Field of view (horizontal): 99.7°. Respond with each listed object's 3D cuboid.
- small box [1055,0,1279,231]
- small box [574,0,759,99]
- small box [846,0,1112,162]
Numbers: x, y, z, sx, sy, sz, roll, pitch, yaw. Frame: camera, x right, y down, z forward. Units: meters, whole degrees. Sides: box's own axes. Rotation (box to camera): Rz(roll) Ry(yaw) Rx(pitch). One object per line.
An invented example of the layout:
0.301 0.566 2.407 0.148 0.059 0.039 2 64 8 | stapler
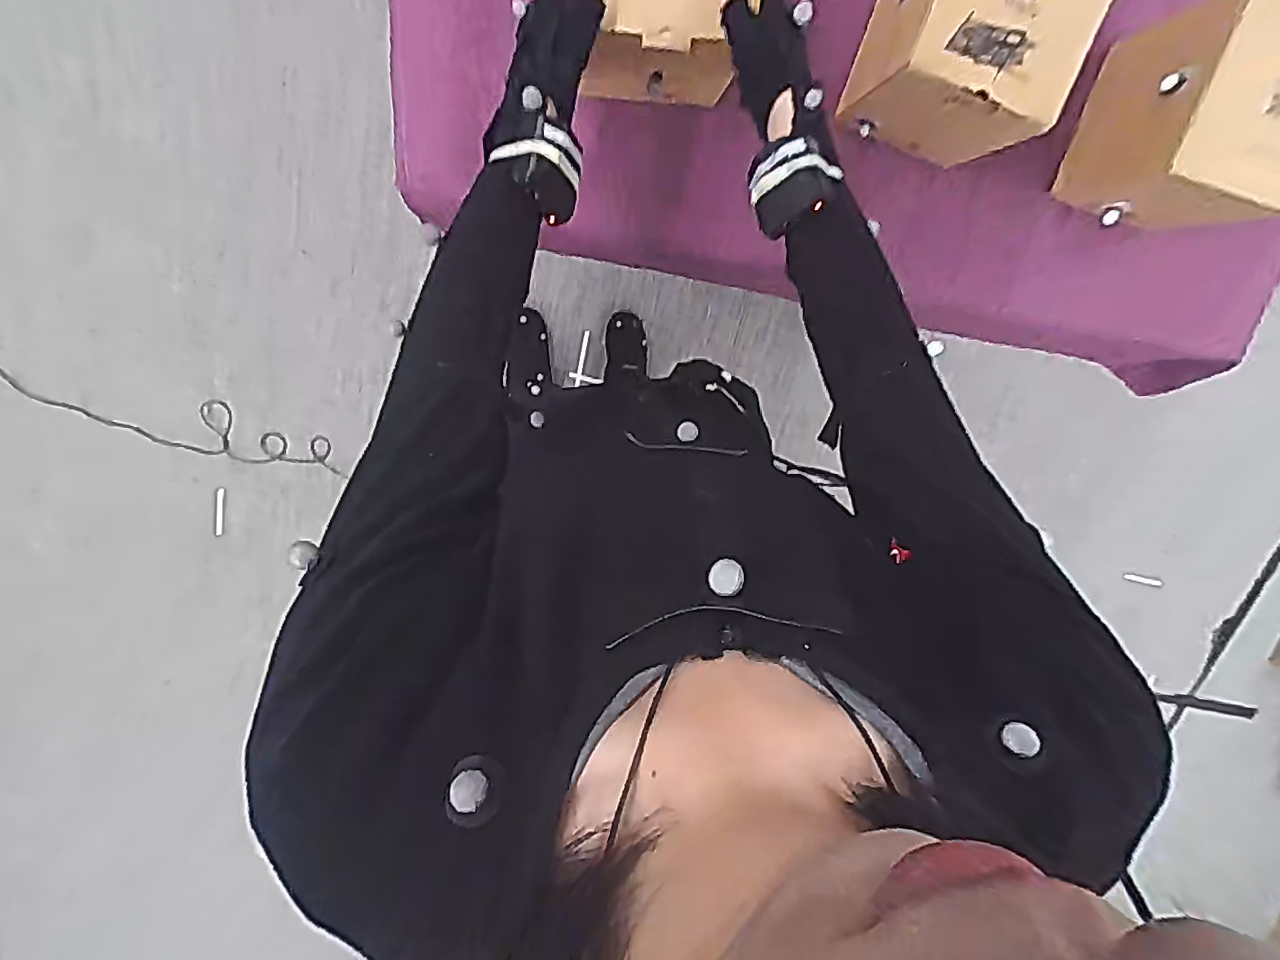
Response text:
0.638 -0.407 0.623 0.168 0.176 0.179 12 107 -8 | small box
0.022 -0.503 0.530 0.168 0.176 0.179 1 109 -6 | small box
0.347 -0.471 0.573 0.168 0.176 0.179 16 105 -11 | small box
